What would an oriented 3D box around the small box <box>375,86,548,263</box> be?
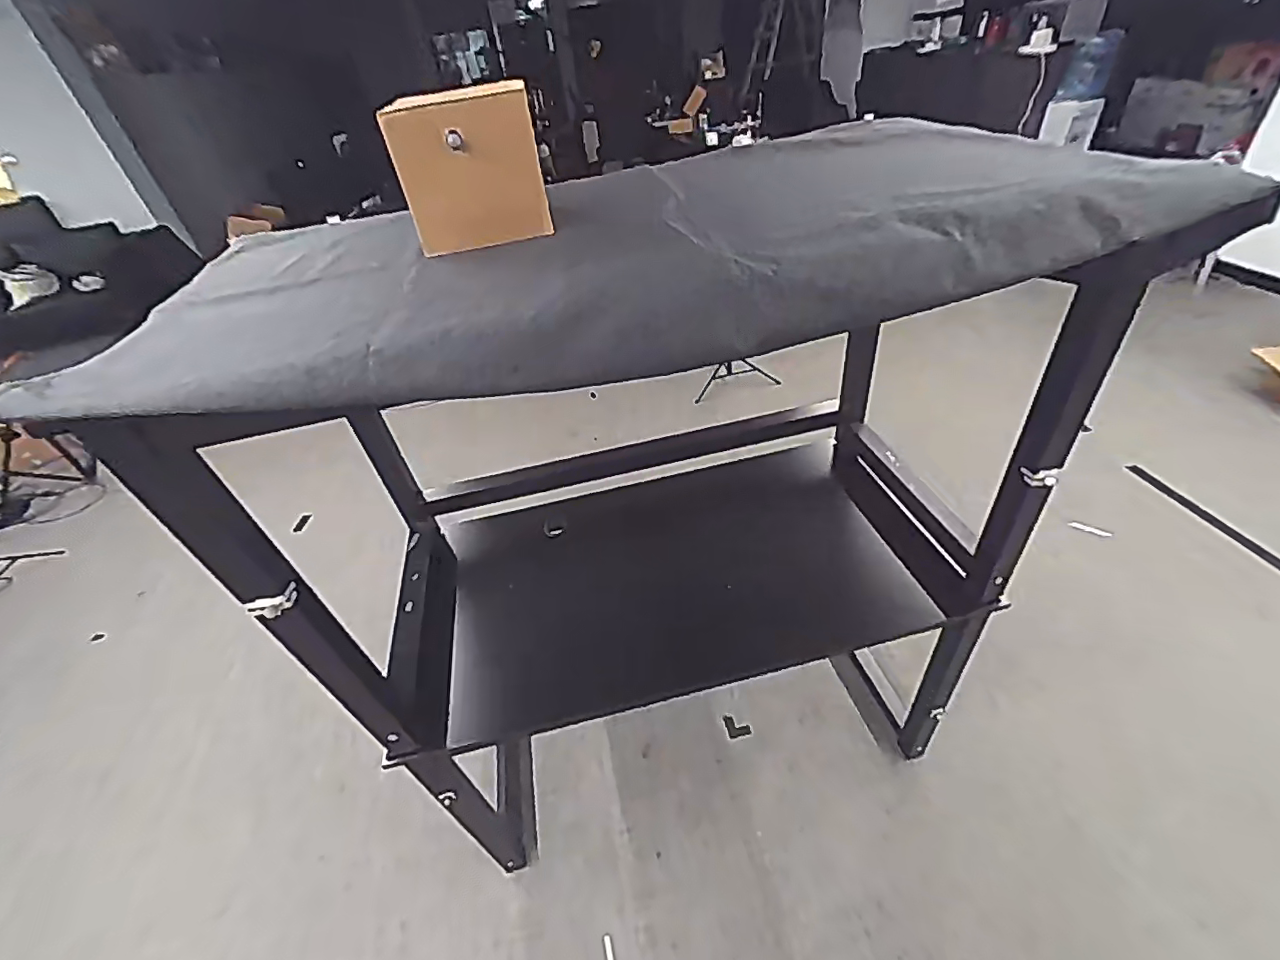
[{"bbox_3d":[-0.228,-0.419,0.741,0.179,0.176,0.168,-13,40,-4],"label":"small box"}]
